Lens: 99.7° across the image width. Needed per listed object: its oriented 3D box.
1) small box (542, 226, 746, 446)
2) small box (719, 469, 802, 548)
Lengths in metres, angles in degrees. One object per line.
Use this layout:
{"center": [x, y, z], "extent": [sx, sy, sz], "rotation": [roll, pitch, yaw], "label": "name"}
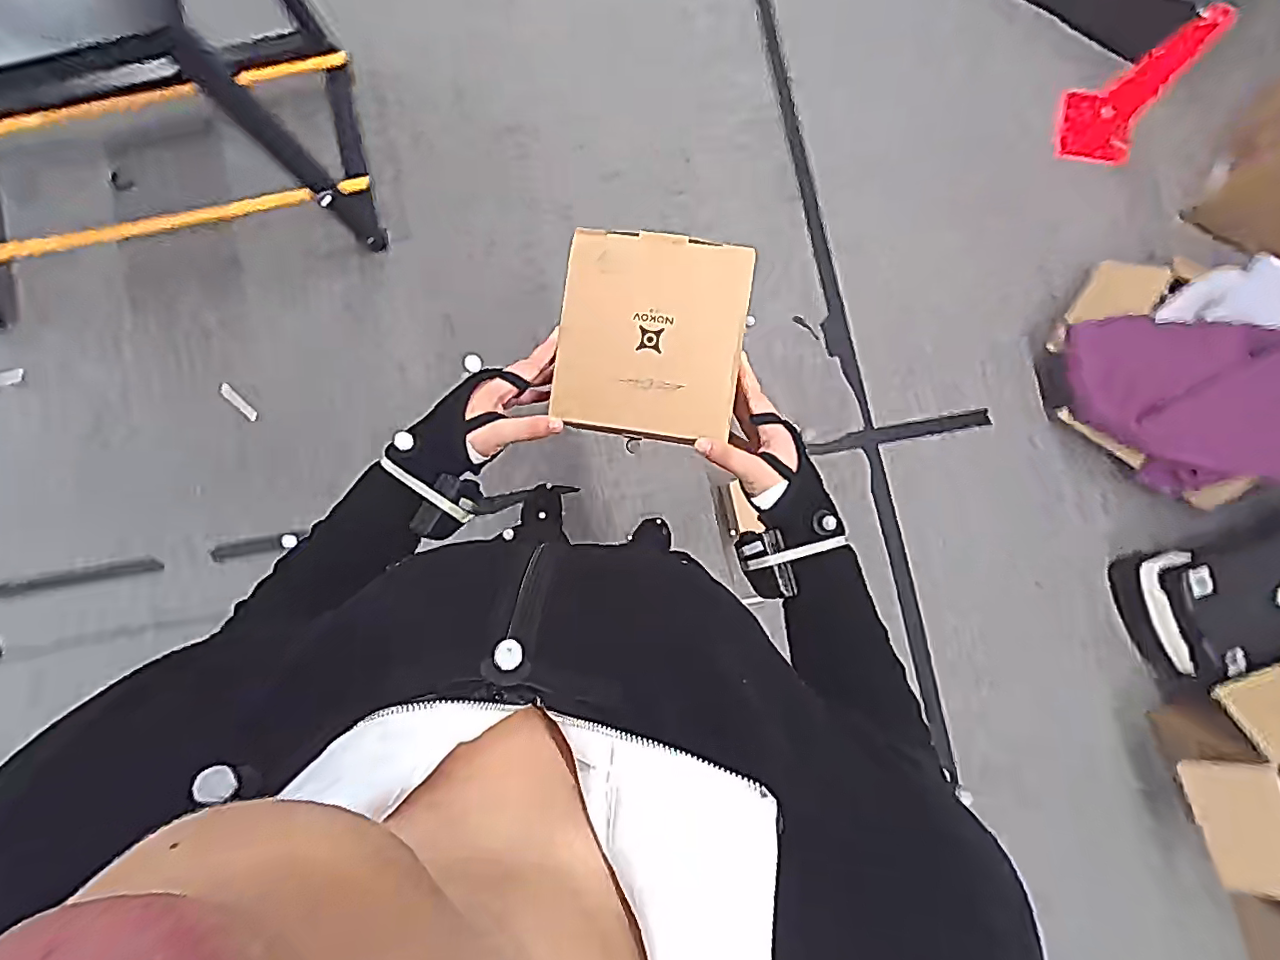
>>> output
{"center": [0.006, -0.134, 0.565], "extent": [0.168, 0.176, 0.179], "rotation": [8, 93, 3], "label": "small box"}
{"center": [0.312, 0.073, 1.426], "extent": [0.168, 0.176, 0.179], "rotation": [-12, 87, 0], "label": "small box"}
